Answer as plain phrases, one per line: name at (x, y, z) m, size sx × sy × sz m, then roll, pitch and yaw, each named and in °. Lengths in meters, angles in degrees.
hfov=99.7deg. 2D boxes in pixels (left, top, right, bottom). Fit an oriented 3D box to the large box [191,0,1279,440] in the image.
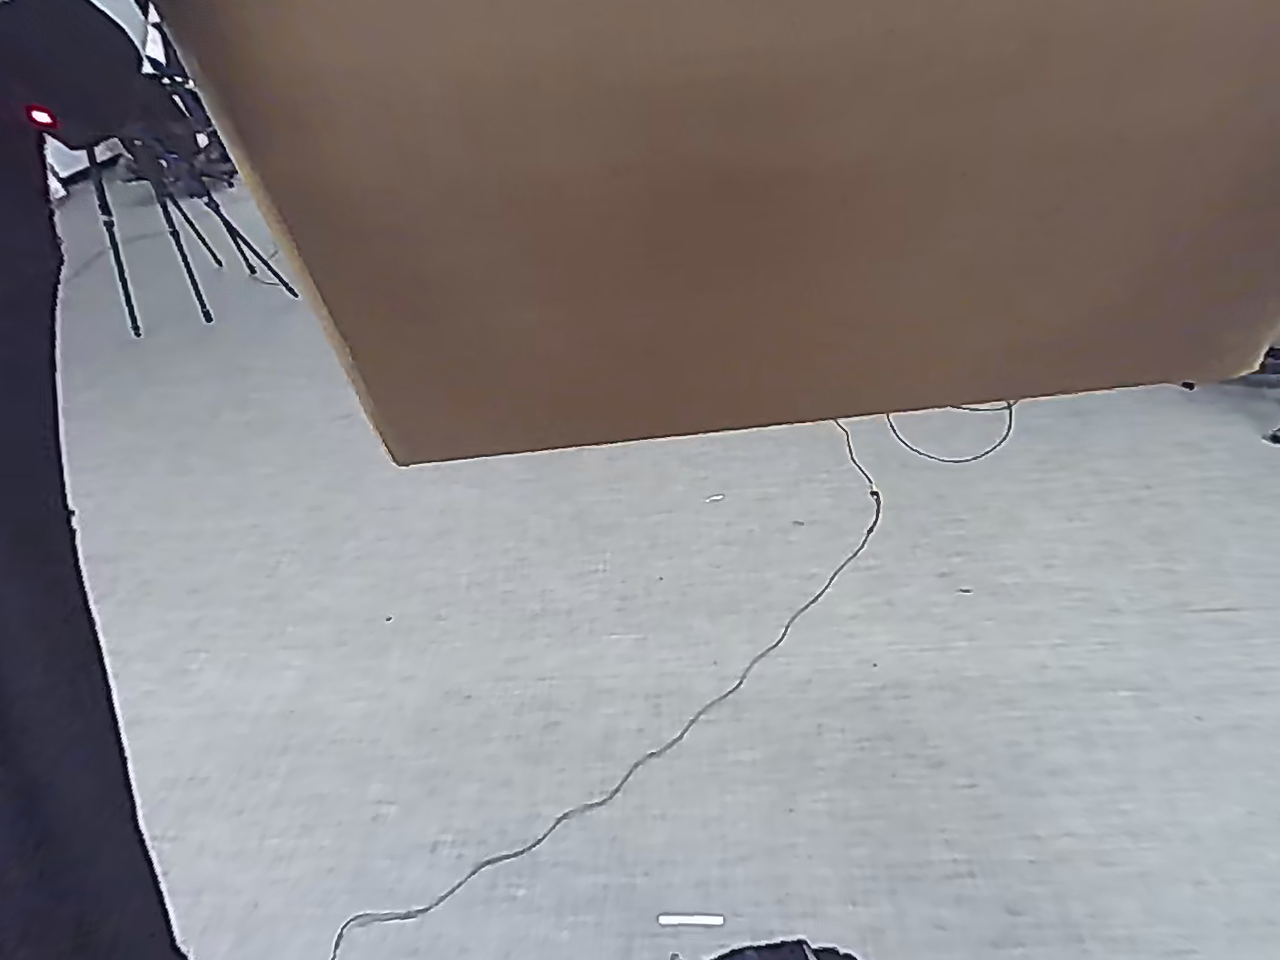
large box at (0.055, -0.246, 0.273) m, size 0.408 × 0.320 × 0.320 m, roll -6°, pitch 42°, yaw 0°
